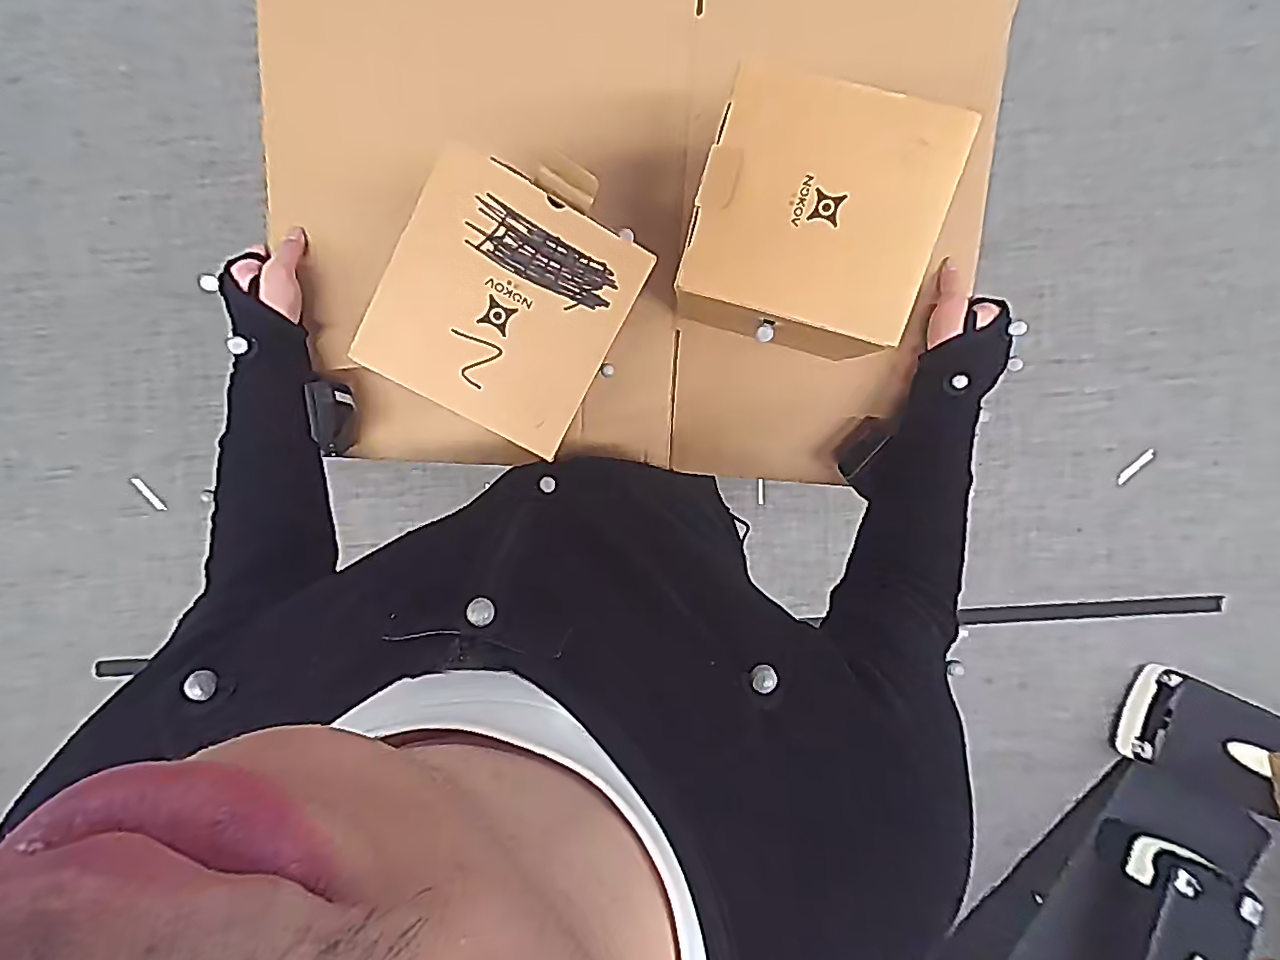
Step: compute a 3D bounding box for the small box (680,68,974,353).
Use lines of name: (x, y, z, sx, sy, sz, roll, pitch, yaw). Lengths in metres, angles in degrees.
small box: (0.146, -0.217, 0.486, 0.179, 0.176, 0.168, 17, 101, 5)
